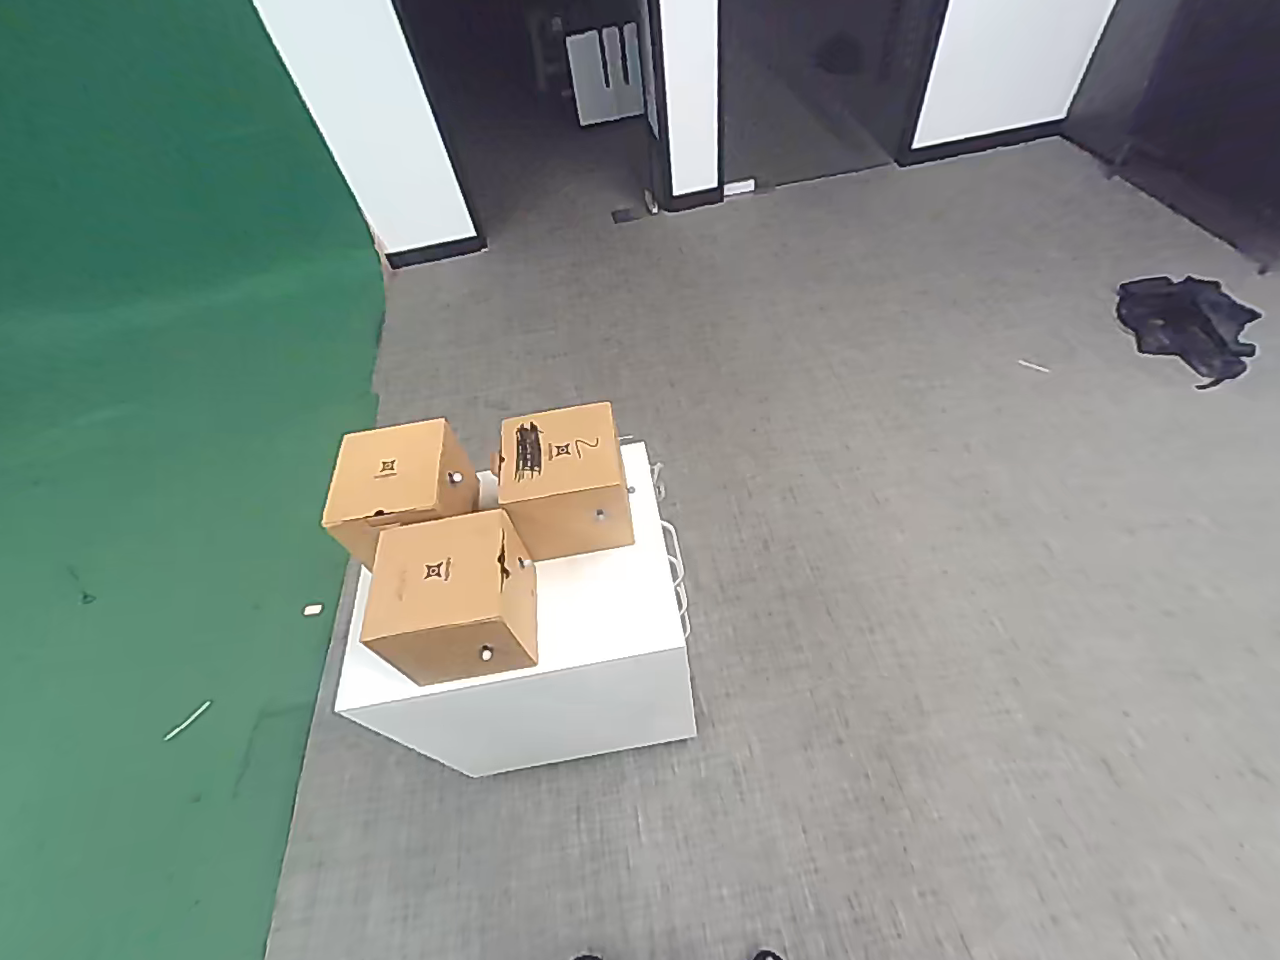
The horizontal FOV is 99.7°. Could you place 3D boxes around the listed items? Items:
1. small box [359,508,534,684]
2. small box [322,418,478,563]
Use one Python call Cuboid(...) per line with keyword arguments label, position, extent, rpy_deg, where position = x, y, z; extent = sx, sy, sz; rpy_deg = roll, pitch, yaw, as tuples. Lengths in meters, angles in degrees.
Cuboid(label="small box", position=(-0.249, 0.164, 0.750), extent=(0.179, 0.176, 0.168), rpy_deg=(-11, 50, 0))
Cuboid(label="small box", position=(-0.369, 0.028, 0.870), extent=(0.168, 0.176, 0.179), rpy_deg=(-10, 53, -1))
